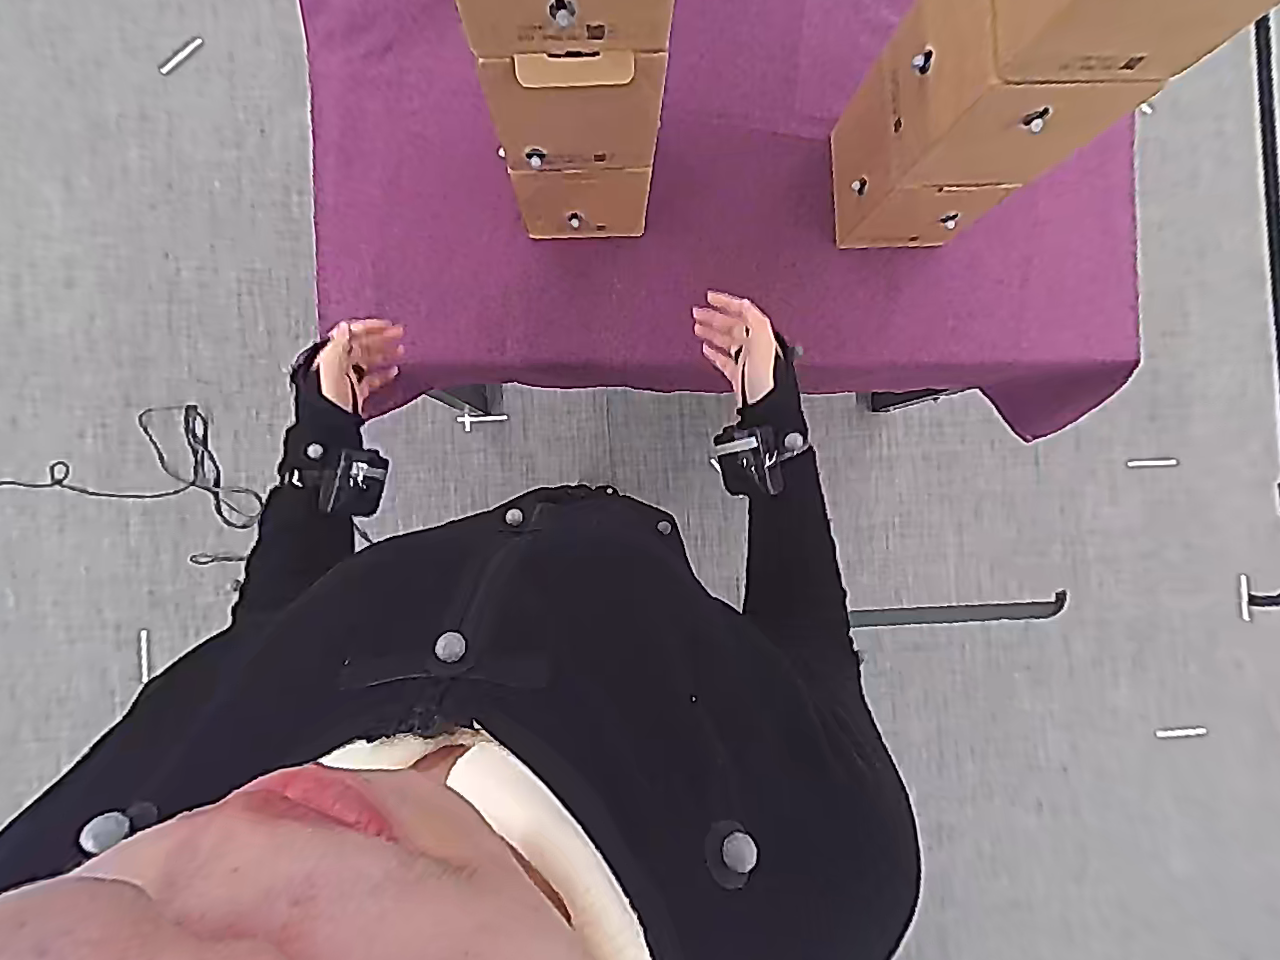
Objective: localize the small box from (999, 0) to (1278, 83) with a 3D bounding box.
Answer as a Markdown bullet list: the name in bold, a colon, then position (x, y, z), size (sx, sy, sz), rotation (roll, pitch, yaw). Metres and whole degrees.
- **small box**: position (0.397, -0.441, 0.398), size (0.168, 0.176, 0.179), rotation (-3, 90, -4)

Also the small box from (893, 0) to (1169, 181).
- **small box**: position (0.382, -0.434, 0.561), size (0.179, 0.176, 0.168), rotation (-3, 91, -4)

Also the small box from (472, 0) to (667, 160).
- **small box**: position (-0.067, -0.445, 0.536), size (0.168, 0.176, 0.179), rotation (-5, 90, -4)

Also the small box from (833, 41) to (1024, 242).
- **small box**: position (0.373, -0.437, 0.725), size (0.168, 0.176, 0.179), rotation (-2, 90, -4)

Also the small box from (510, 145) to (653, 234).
- **small box**: position (-0.076, -0.443, 0.700), size (0.168, 0.176, 0.179), rotation (-3, 91, -4)
